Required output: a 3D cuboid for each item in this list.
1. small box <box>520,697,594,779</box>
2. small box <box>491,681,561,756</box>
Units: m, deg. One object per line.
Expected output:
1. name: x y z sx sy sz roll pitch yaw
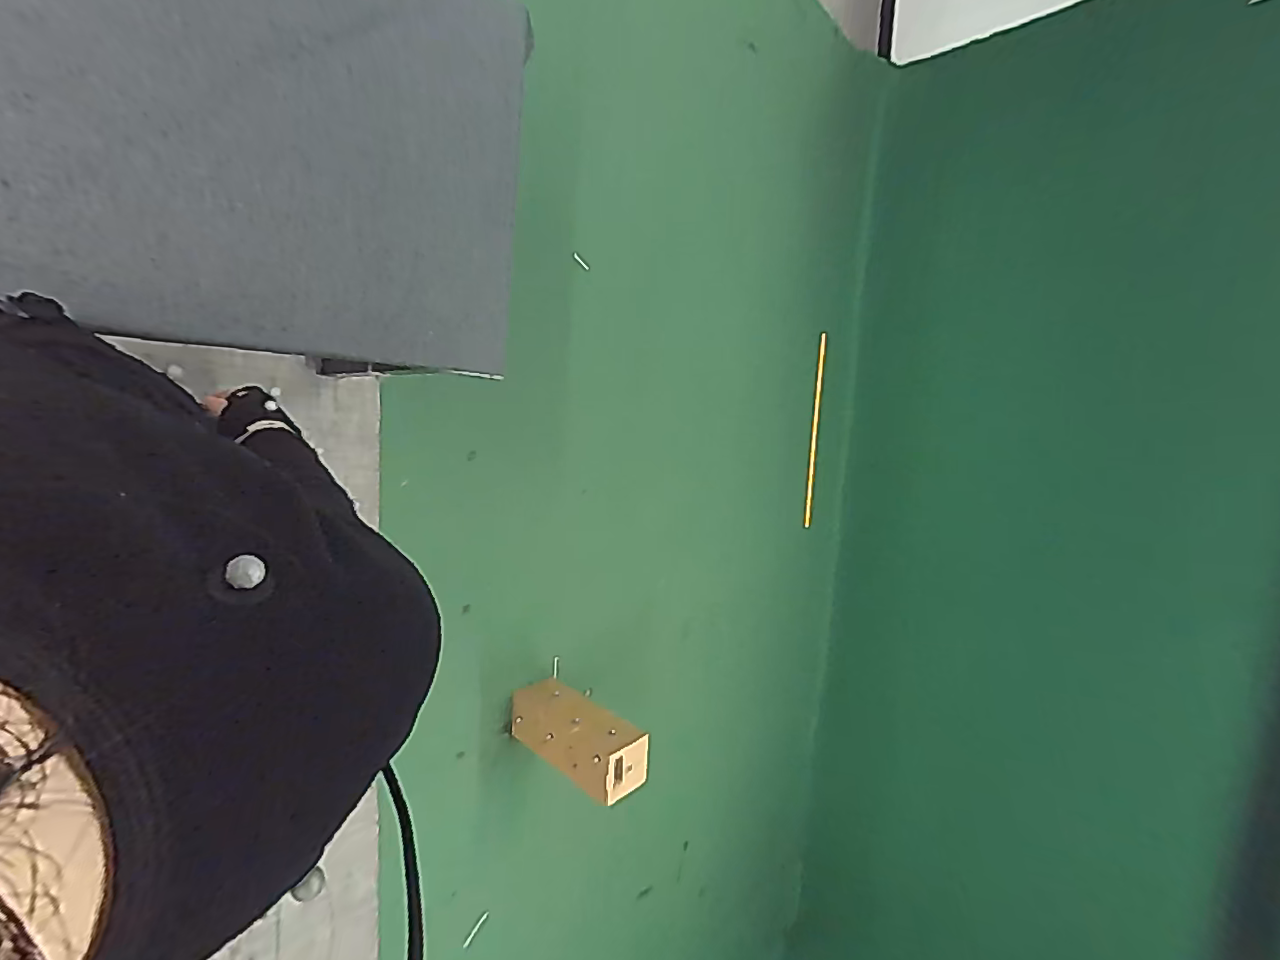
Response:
1. small box: -0.279 0.856 1.818 0.179 0.176 0.168 -3 99 -50
2. small box: -0.403 0.837 1.920 0.179 0.176 0.168 -2 97 -50
